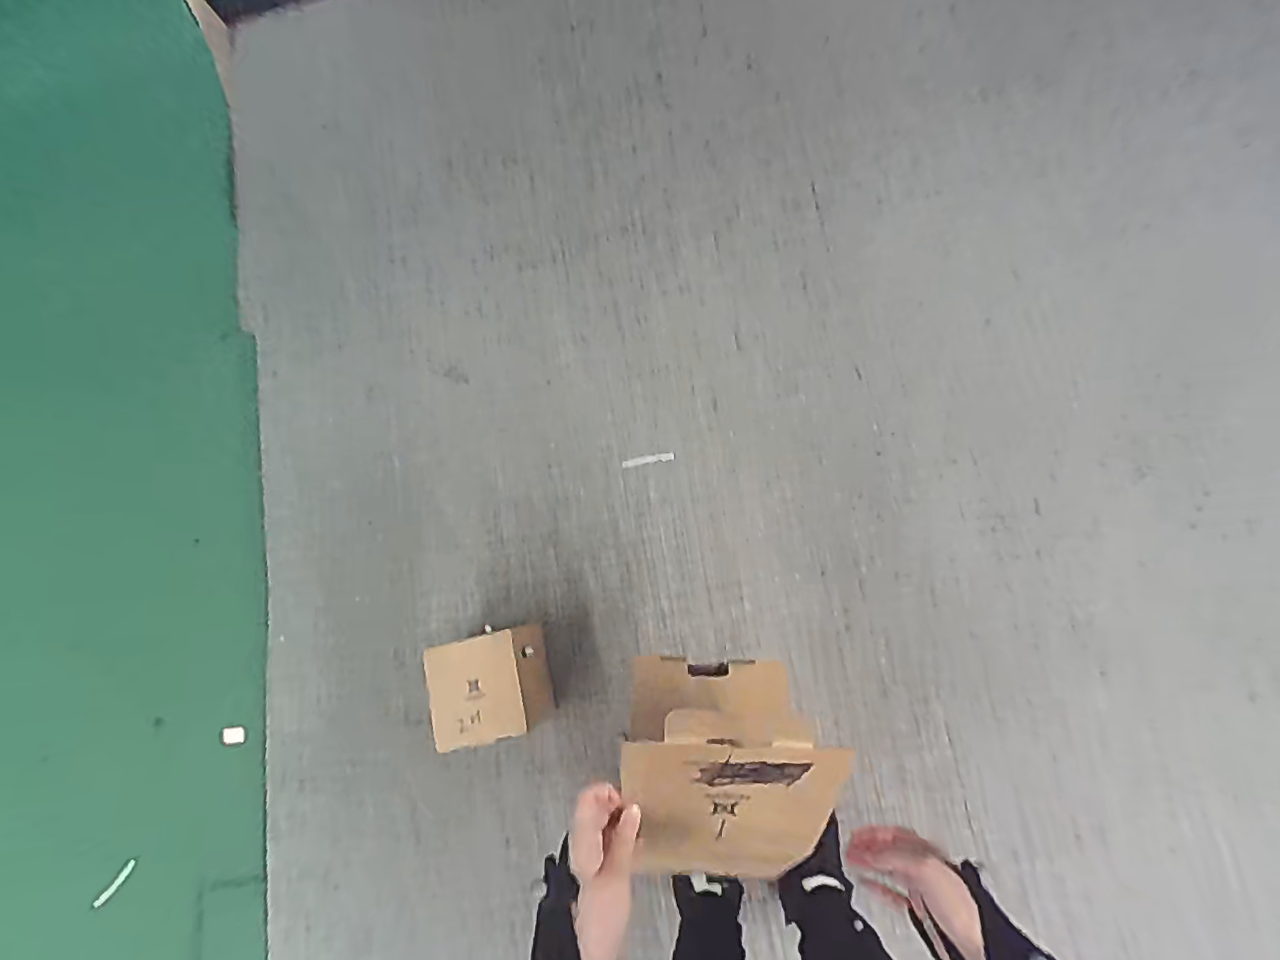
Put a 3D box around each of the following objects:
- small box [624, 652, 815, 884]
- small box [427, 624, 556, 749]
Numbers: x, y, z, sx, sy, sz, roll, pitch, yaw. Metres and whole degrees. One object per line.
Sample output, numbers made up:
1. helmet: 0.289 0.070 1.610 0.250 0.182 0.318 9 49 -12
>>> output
1. small box: 0.069 0.303 0.571 0.168 0.176 0.179 1 47 1
2. small box: -0.267 0.369 0.997 0.168 0.176 0.179 -14 78 5
